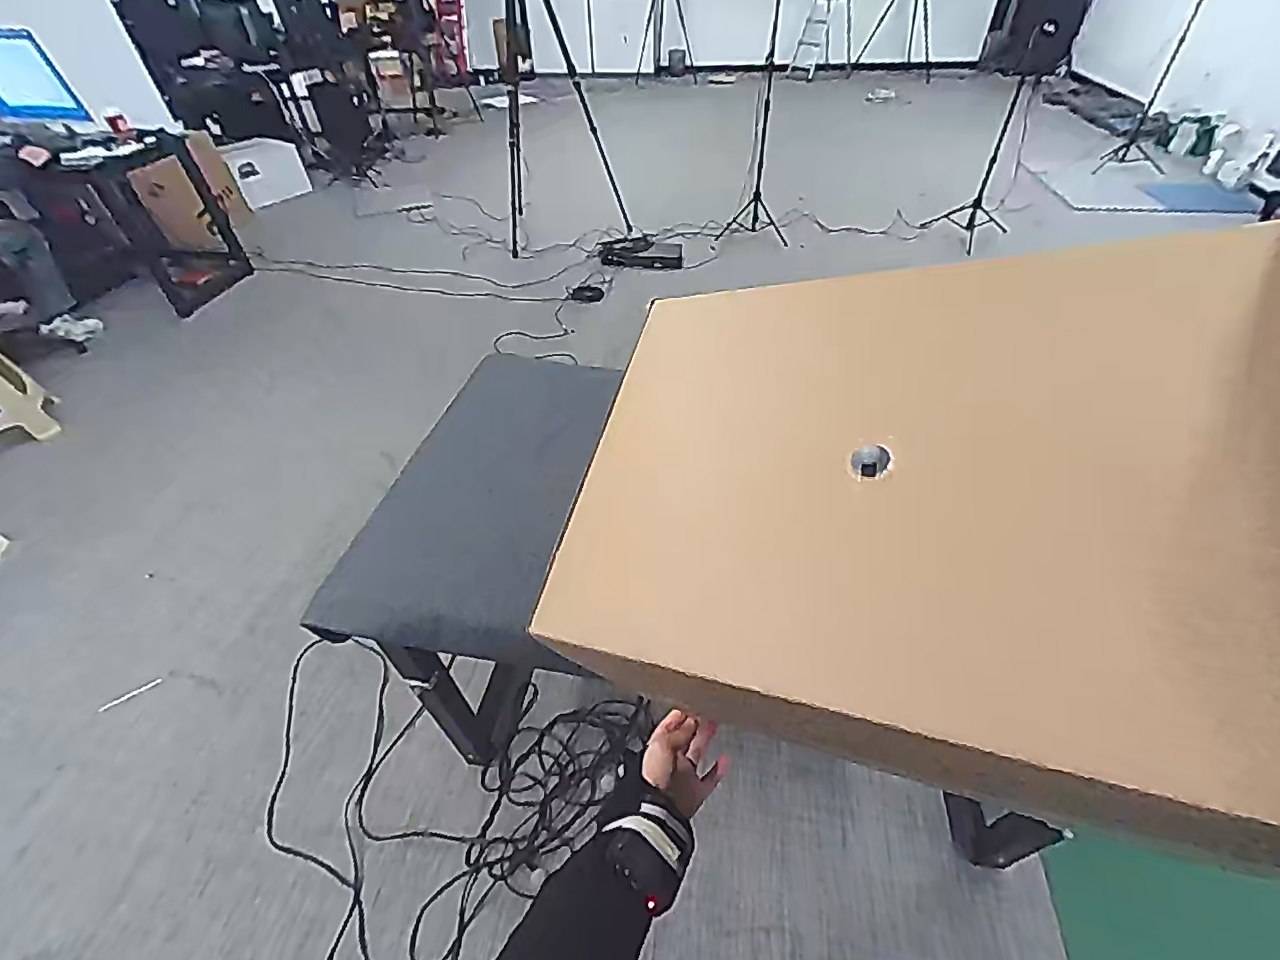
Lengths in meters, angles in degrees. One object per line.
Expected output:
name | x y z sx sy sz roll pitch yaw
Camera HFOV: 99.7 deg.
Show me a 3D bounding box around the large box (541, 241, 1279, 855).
large box | 0.200 0.061 0.446 0.408 0.320 0.320 2 62 29
